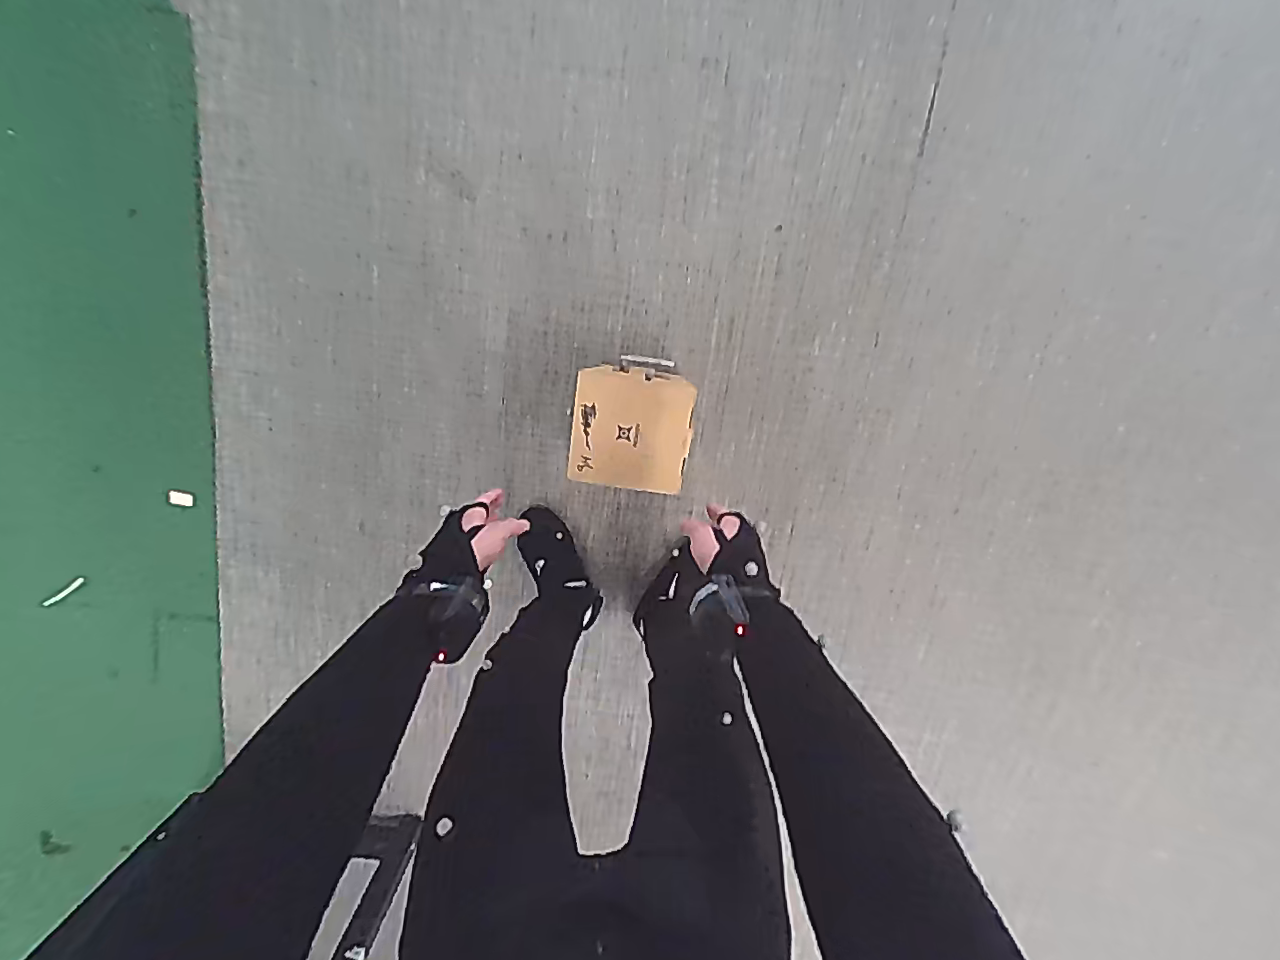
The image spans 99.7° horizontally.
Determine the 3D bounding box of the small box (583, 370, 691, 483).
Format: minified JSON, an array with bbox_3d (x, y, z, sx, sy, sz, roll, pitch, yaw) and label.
[{"bbox_3d":[-0.005,-0.108,1.020,0.168,0.176,0.179,10,103,0],"label":"small box"}]
